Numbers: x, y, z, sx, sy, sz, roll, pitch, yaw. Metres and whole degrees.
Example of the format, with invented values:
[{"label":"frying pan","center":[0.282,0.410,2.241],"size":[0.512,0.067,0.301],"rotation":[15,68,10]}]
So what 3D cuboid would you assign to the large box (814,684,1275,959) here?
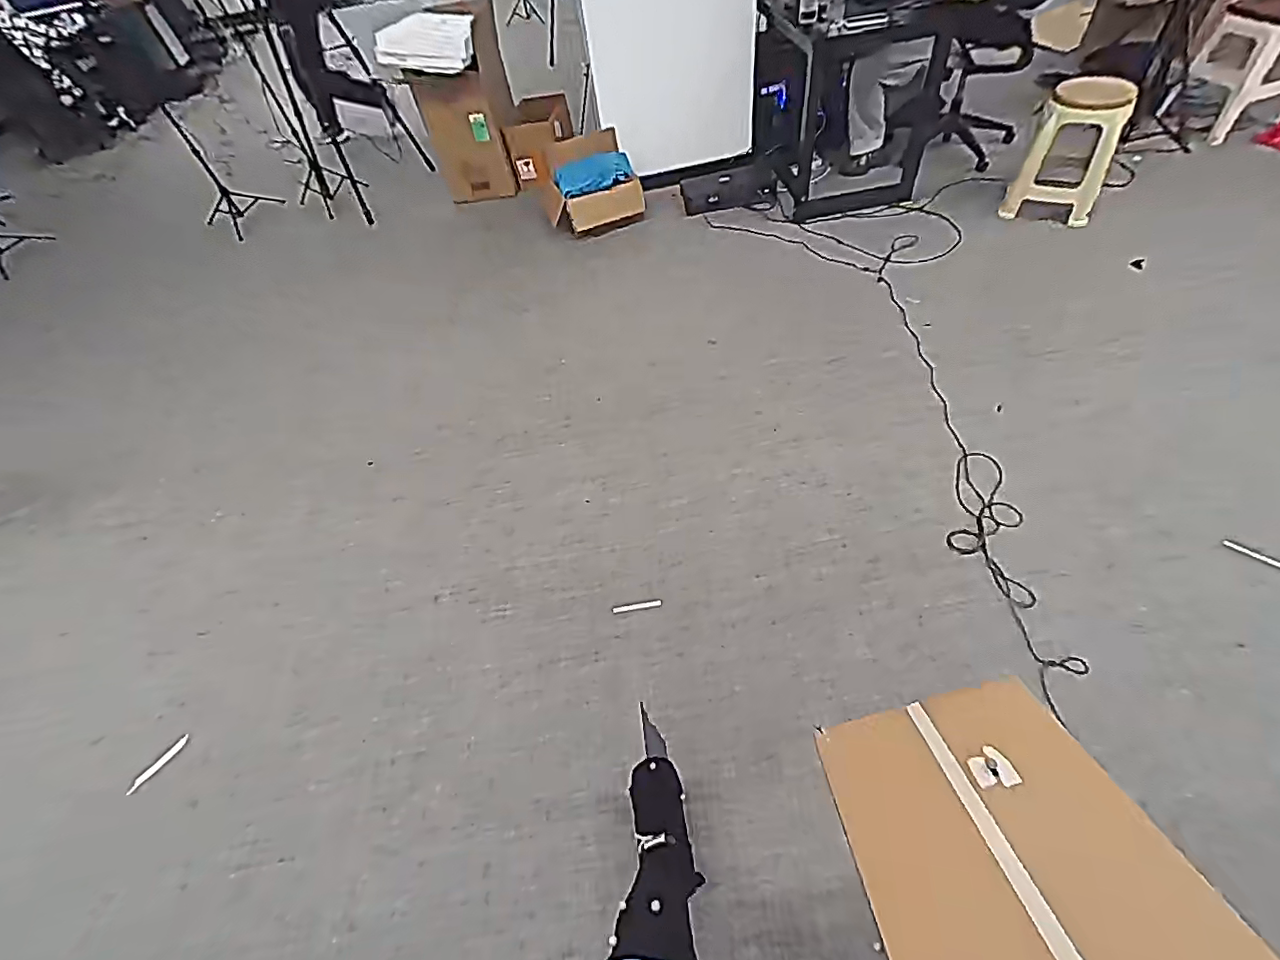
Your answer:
[{"label":"large box","center":[0.468,0.551,0.691],"size":[0.320,0.320,0.408],"rotation":[-19,16,8]}]
